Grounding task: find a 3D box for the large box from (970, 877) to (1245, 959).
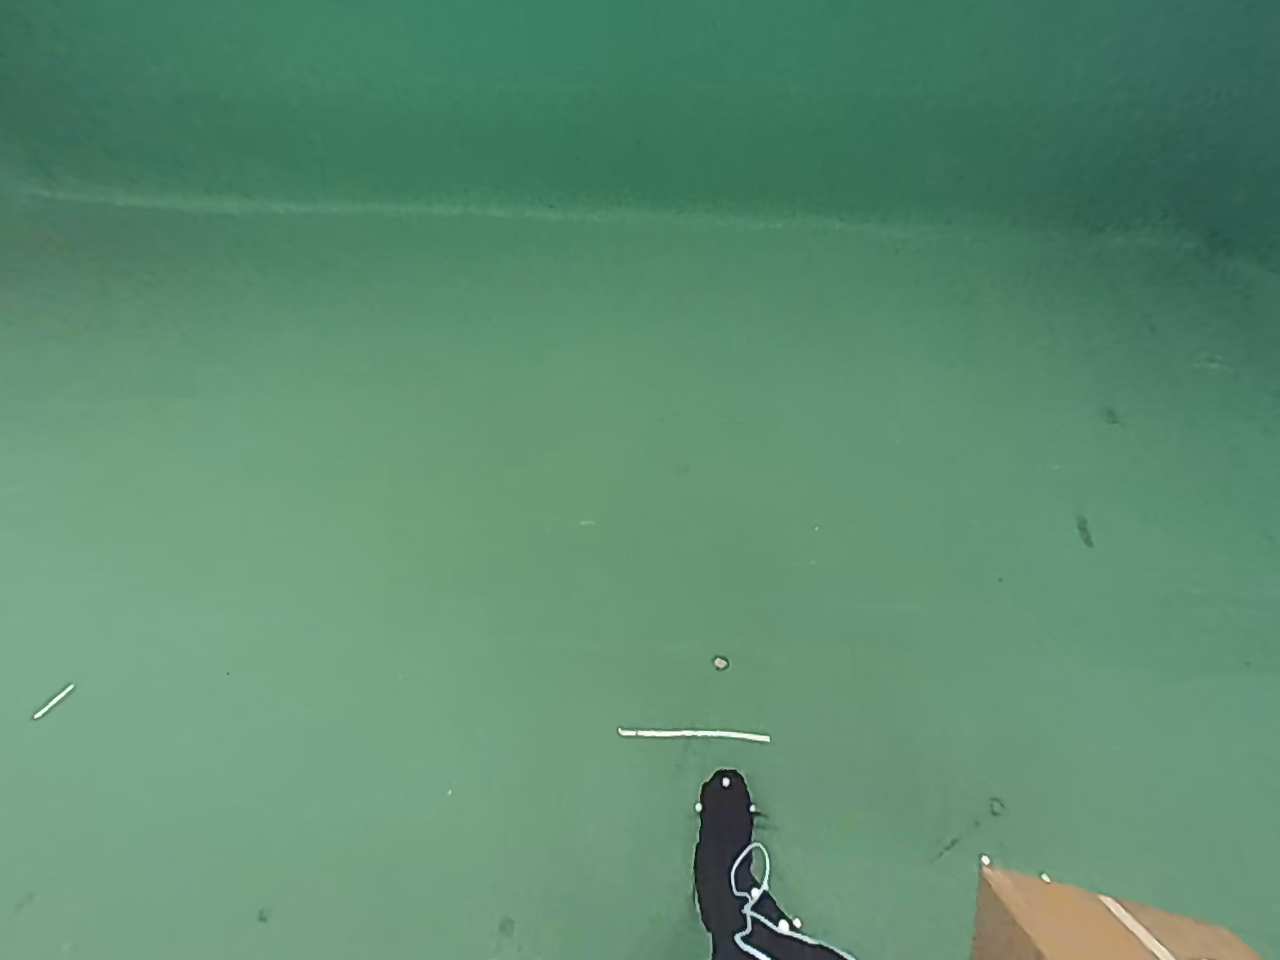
[{"bbox_3d":[0.586,0.726,0.558,0.320,0.408,0.320,9,85,11],"label":"large box"}]
